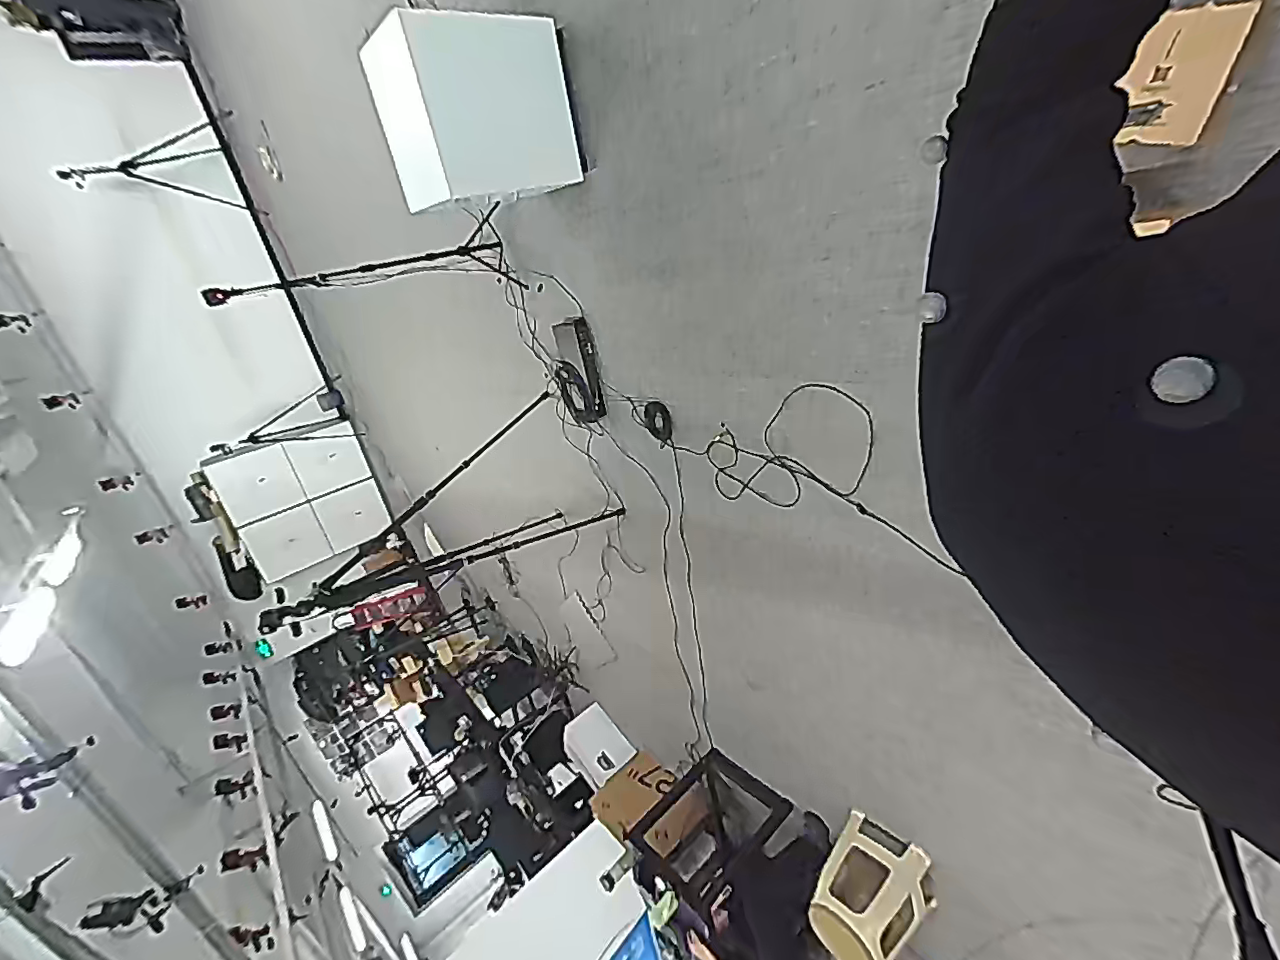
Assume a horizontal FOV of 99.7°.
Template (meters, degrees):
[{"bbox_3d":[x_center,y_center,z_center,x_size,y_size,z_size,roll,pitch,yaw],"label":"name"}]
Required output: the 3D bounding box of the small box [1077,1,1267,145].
[{"bbox_3d":[0.880,-0.666,0.898,0.168,0.176,0.179,31,135,38],"label":"small box"}]
